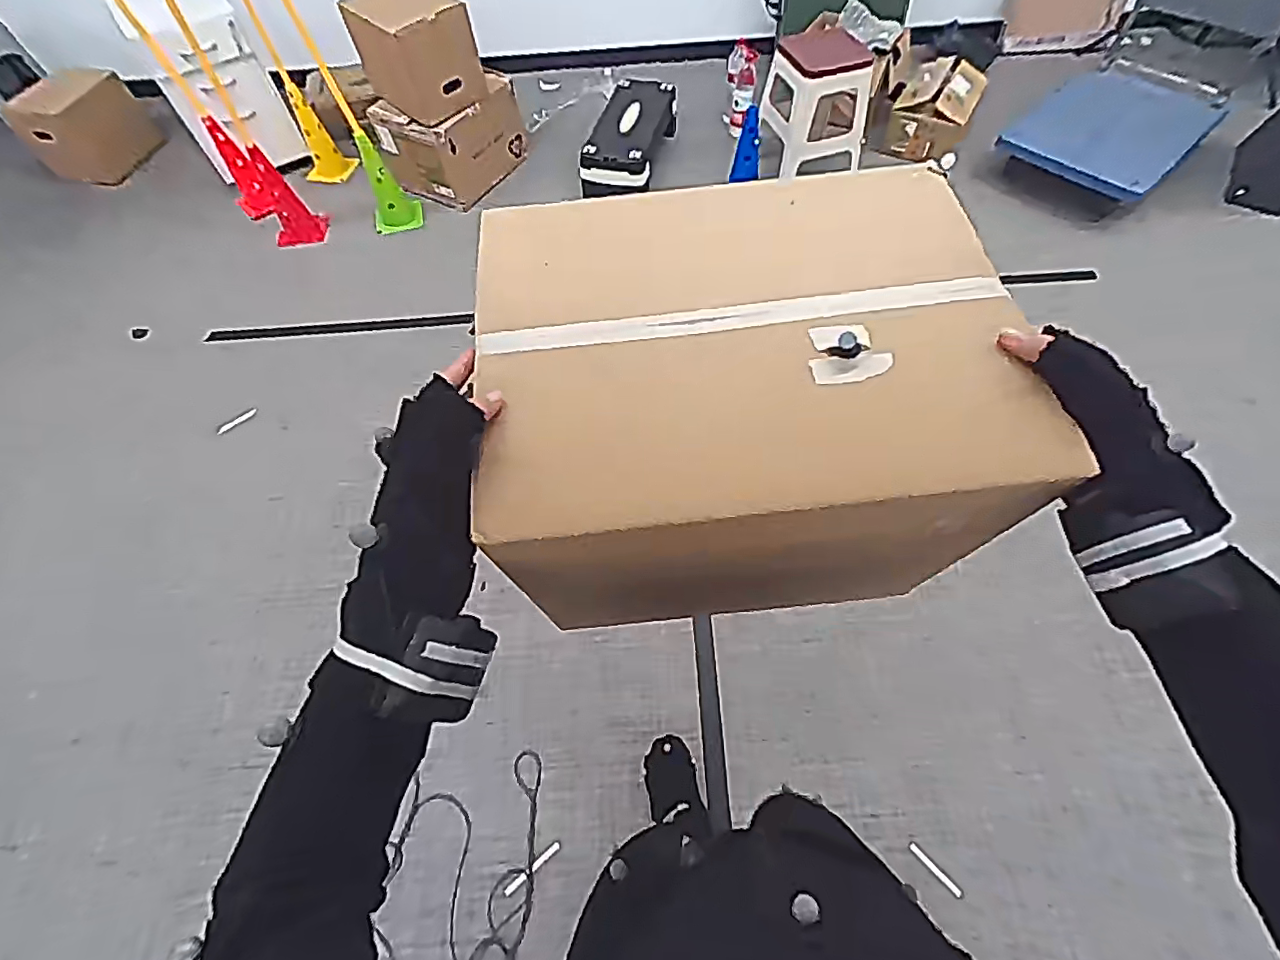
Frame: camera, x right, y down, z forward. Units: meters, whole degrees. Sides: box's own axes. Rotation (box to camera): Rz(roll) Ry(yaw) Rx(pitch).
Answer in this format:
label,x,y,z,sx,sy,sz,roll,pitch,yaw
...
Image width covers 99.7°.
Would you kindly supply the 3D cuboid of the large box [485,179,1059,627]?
label,x,y,z,sx,sy,sz,roll,pitch,yaw
large box,0.079,-0.054,0.563,0.408,0.320,0.320,-7,64,-1
